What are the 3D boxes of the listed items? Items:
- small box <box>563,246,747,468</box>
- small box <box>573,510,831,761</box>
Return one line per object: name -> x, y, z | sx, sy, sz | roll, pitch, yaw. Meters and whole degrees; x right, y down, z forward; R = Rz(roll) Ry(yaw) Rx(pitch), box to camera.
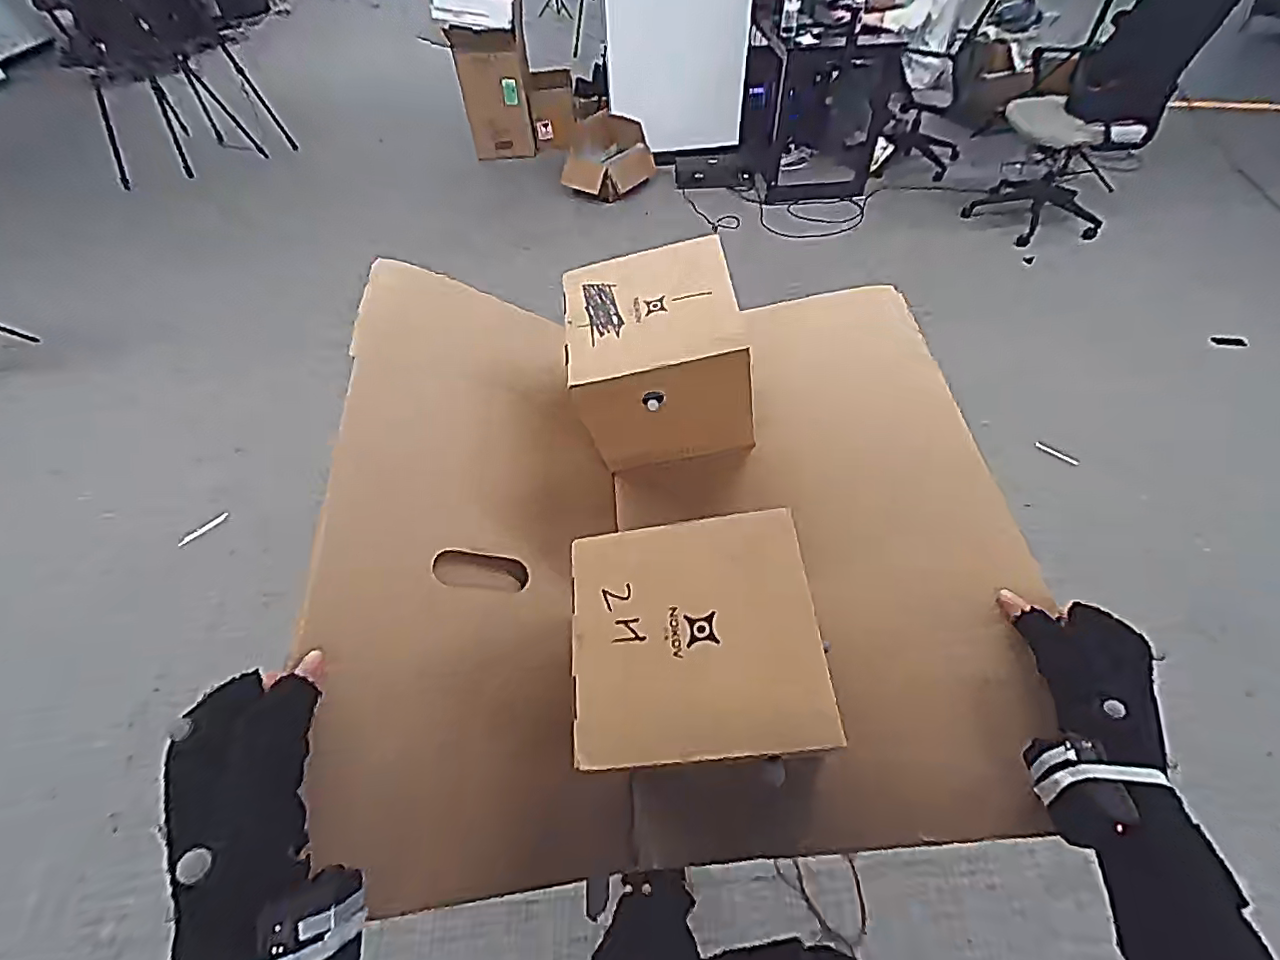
small box -> 0.021, -0.131, 0.627 | 0.179, 0.176, 0.168 | -11, 60, 7
small box -> 0.050, 0.143, 0.466 | 0.179, 0.176, 0.168 | -9, 60, 9
